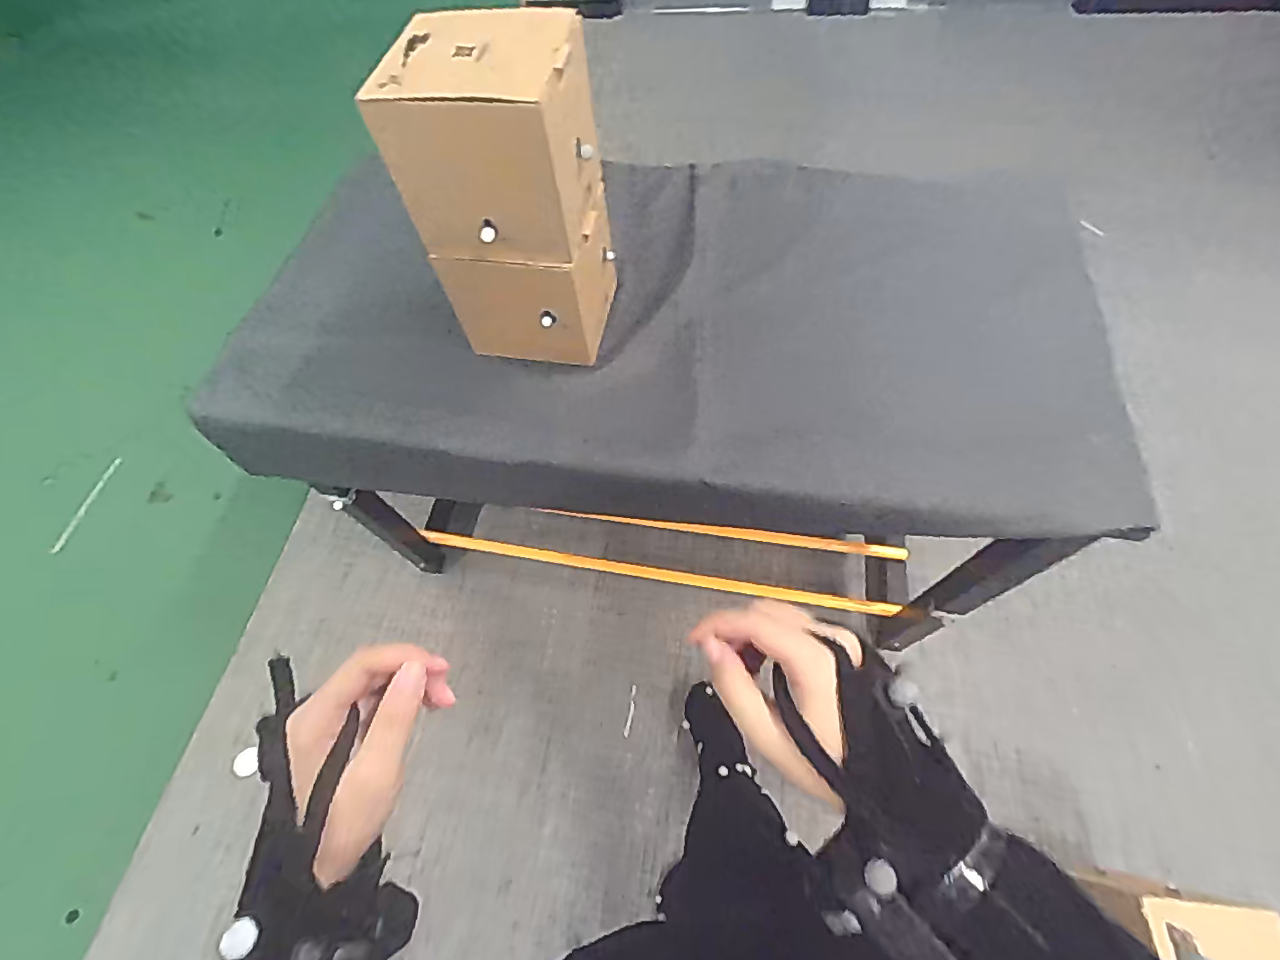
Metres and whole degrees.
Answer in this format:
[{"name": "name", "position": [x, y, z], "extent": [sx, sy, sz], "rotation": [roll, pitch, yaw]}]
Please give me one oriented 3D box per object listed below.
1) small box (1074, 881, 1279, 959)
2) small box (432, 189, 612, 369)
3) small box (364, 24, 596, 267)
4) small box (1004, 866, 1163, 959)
[{"name": "small box", "position": [0.771, 0.691, 0.772], "extent": [0.179, 0.176, 0.168], "rotation": [3, 61, 4]}, {"name": "small box", "position": [-0.141, -0.268, 0.729], "extent": [0.179, 0.176, 0.168], "rotation": [7, 60, 8]}, {"name": "small box", "position": [-0.151, -0.356, 0.590], "extent": [0.179, 0.176, 0.168], "rotation": [6, 61, 7]}, {"name": "small box", "position": [0.768, 0.769, 0.917], "extent": [0.179, 0.176, 0.168], "rotation": [1, 60, 5]}]
